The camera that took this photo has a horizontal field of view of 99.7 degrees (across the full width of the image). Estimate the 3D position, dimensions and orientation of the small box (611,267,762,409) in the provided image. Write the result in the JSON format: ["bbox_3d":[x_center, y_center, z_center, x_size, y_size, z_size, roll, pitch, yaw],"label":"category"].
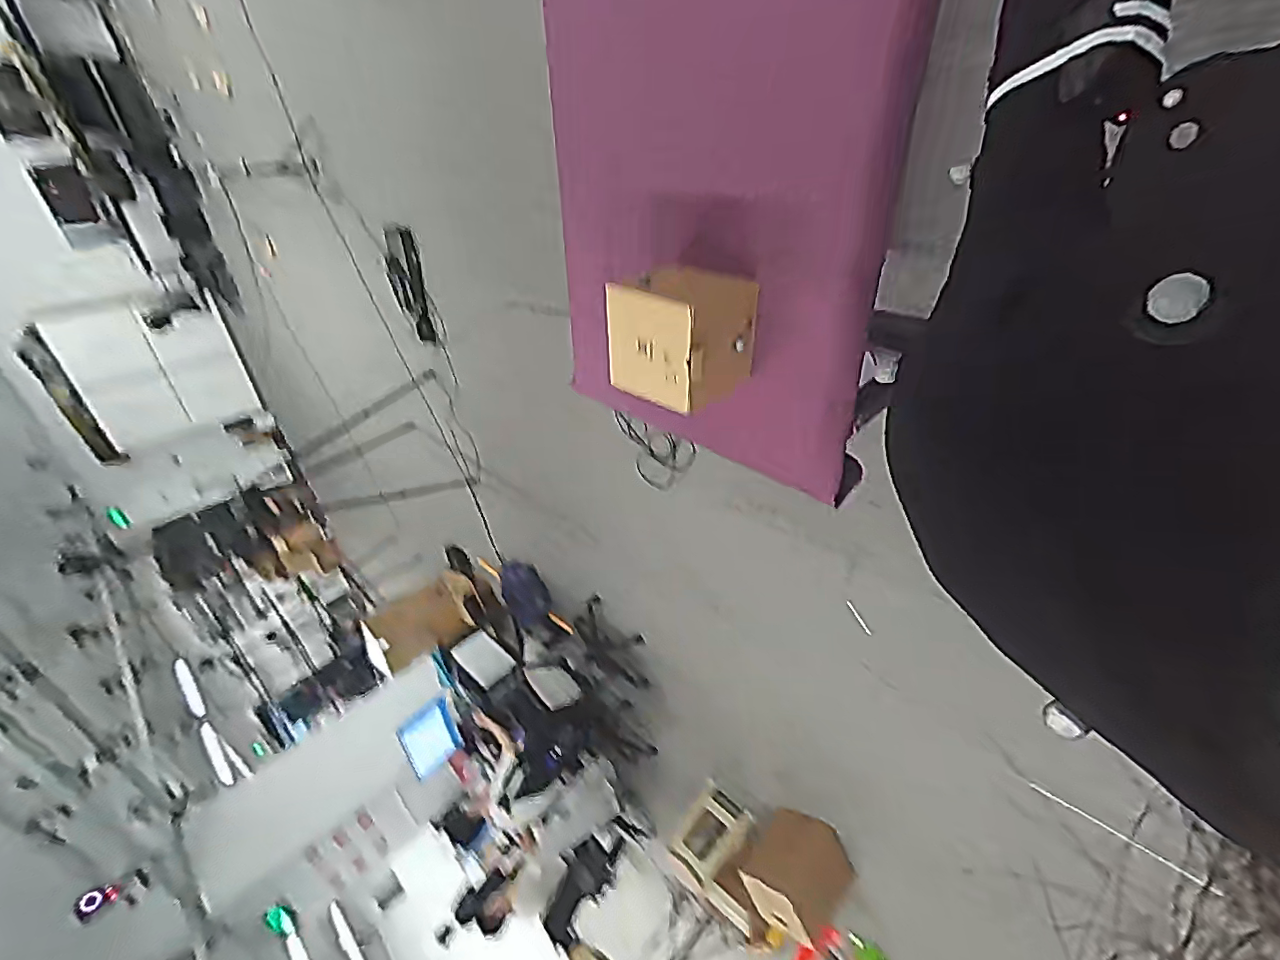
[{"bbox_3d":[0.072,-0.240,0.884,0.179,0.176,0.168,28,134,35],"label":"small box"}]
